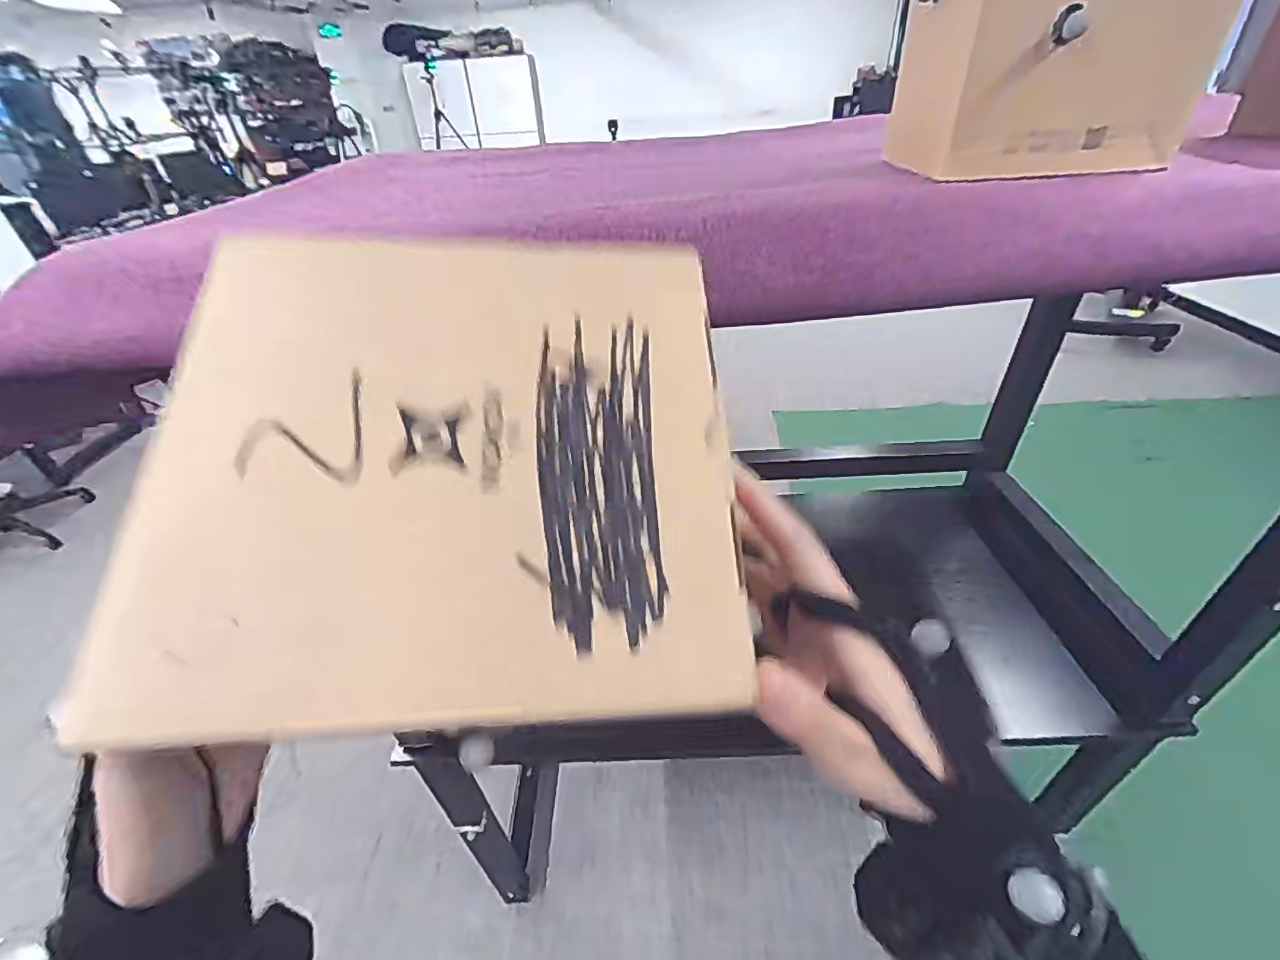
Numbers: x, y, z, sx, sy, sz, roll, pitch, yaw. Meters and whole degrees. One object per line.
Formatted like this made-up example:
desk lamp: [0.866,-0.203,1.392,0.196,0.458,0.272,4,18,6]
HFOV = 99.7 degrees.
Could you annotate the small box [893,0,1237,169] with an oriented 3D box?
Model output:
small box: [0.322,-0.351,0.430,0.168,0.176,0.179,1,35,6]

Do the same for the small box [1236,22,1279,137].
small box: [0.664,-0.373,0.423,0.168,0.176,0.179,-4,35,1]
